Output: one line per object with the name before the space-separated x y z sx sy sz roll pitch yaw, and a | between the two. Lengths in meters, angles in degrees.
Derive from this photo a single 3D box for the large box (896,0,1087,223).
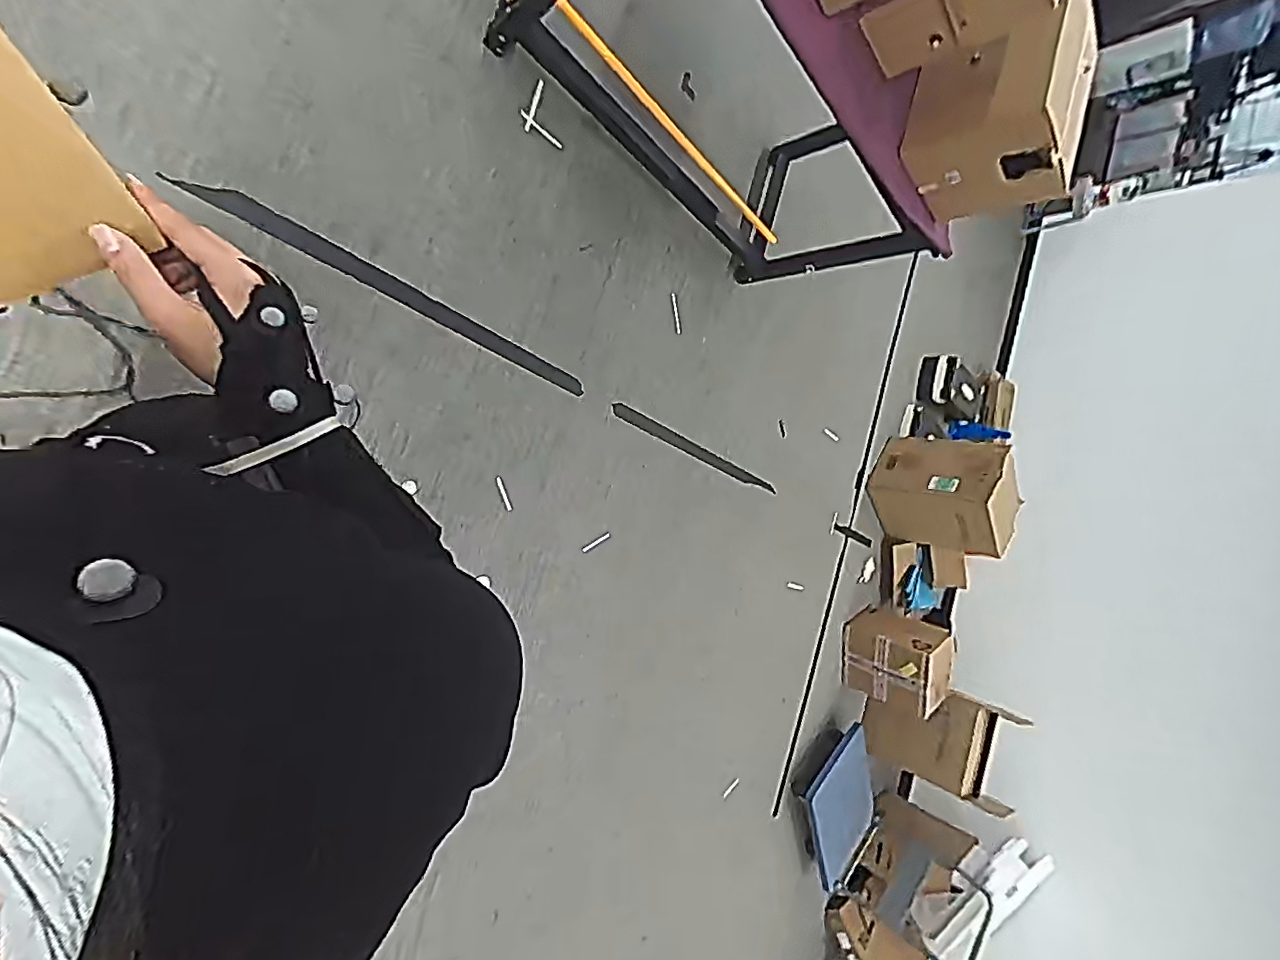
large box | 0.898 -0.954 1.384 0.320 0.320 0.408 21 81 -44

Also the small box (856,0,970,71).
small box | 0.601 -1.046 1.182 0.179 0.176 0.168 20 82 -43

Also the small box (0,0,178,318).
small box | -0.395 -0.189 0.261 0.179 0.176 0.168 -37 154 -23
